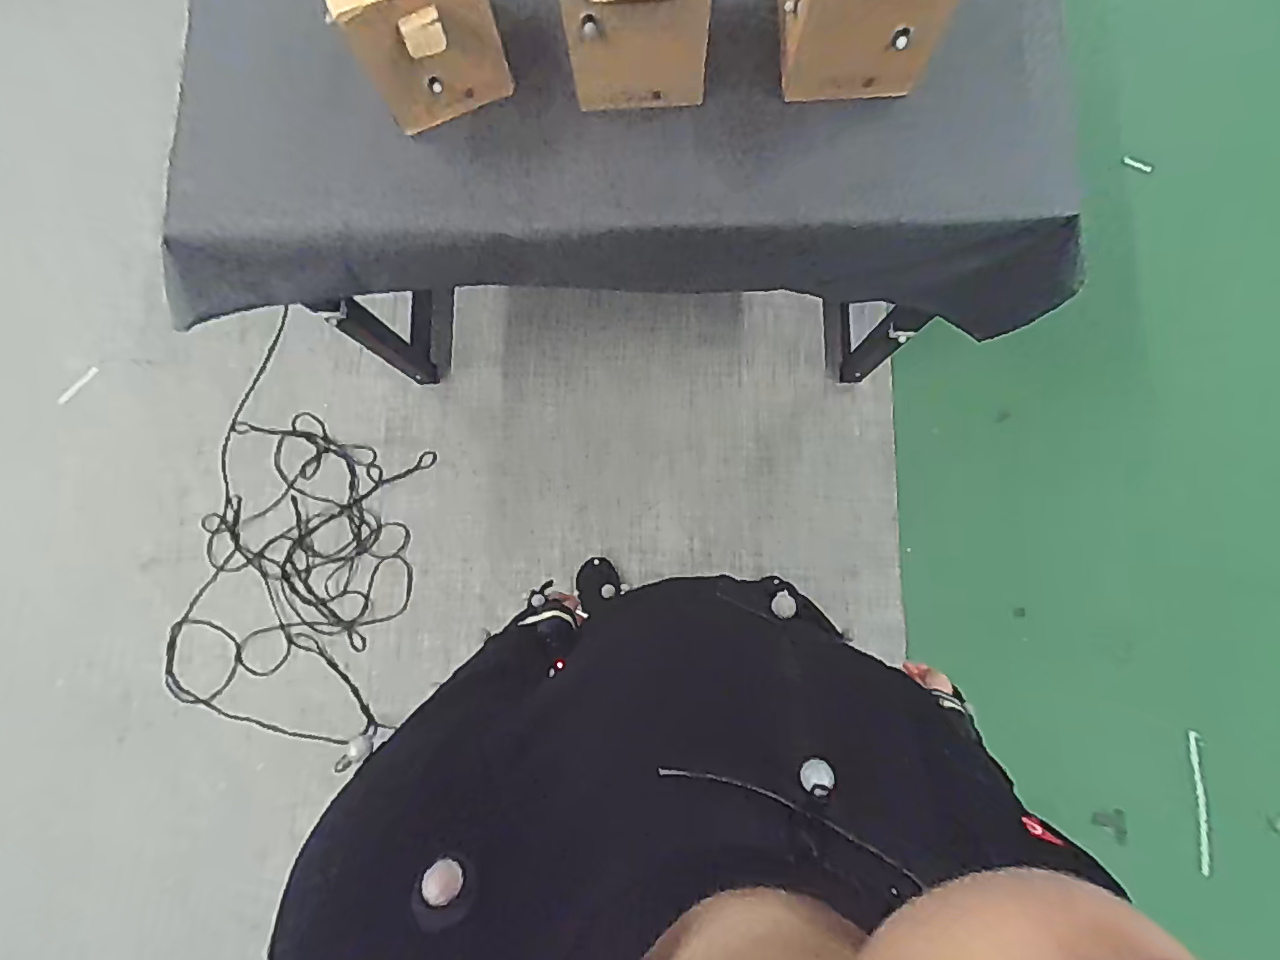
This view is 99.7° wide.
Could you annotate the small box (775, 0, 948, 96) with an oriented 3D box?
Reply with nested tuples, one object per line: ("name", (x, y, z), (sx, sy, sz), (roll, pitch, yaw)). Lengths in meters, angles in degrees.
("small box", (0.264, -0.598, 0.649), (0.168, 0.176, 0.179), (-1, 81, 1))

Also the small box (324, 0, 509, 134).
("small box", (-0.284, -0.585, 0.669), (0.168, 0.176, 0.179), (-23, 82, -1))
